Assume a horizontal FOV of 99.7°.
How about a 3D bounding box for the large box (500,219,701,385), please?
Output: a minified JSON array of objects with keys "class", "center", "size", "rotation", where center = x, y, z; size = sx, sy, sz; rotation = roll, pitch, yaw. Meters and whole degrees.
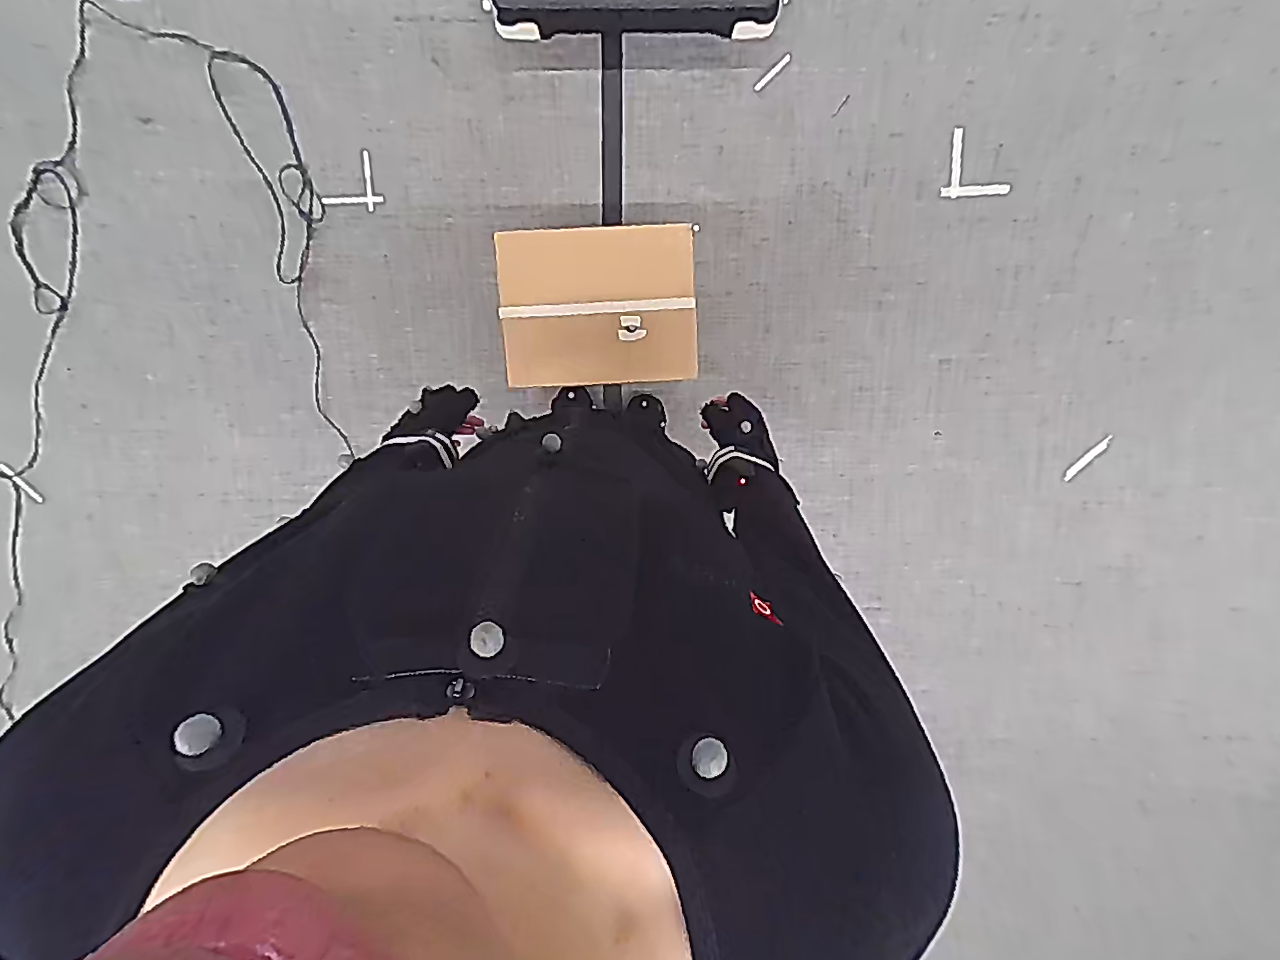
[{"class":"large box","center":[-0.083,-0.393,1.268],"size":[0.408,0.320,0.320],"rotation":[-3,101,-1]}]
